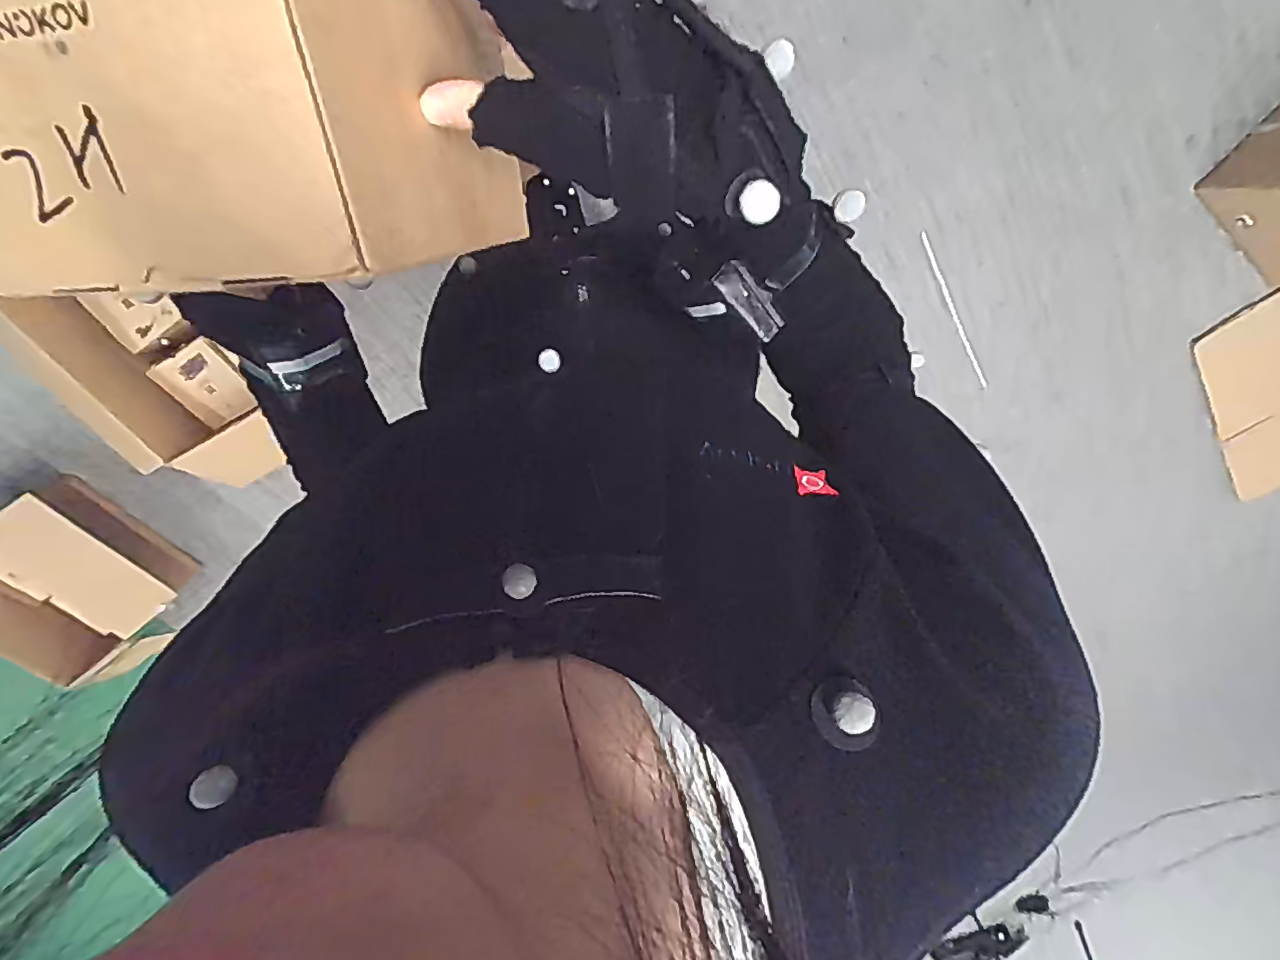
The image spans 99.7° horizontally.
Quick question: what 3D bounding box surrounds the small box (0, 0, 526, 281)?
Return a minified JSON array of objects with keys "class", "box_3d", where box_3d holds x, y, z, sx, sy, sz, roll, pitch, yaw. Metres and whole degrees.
[{"class":"small box","box_3d":[-0.161,-0.189,0.223,0.168,0.176,0.179,1,120,9]}]
